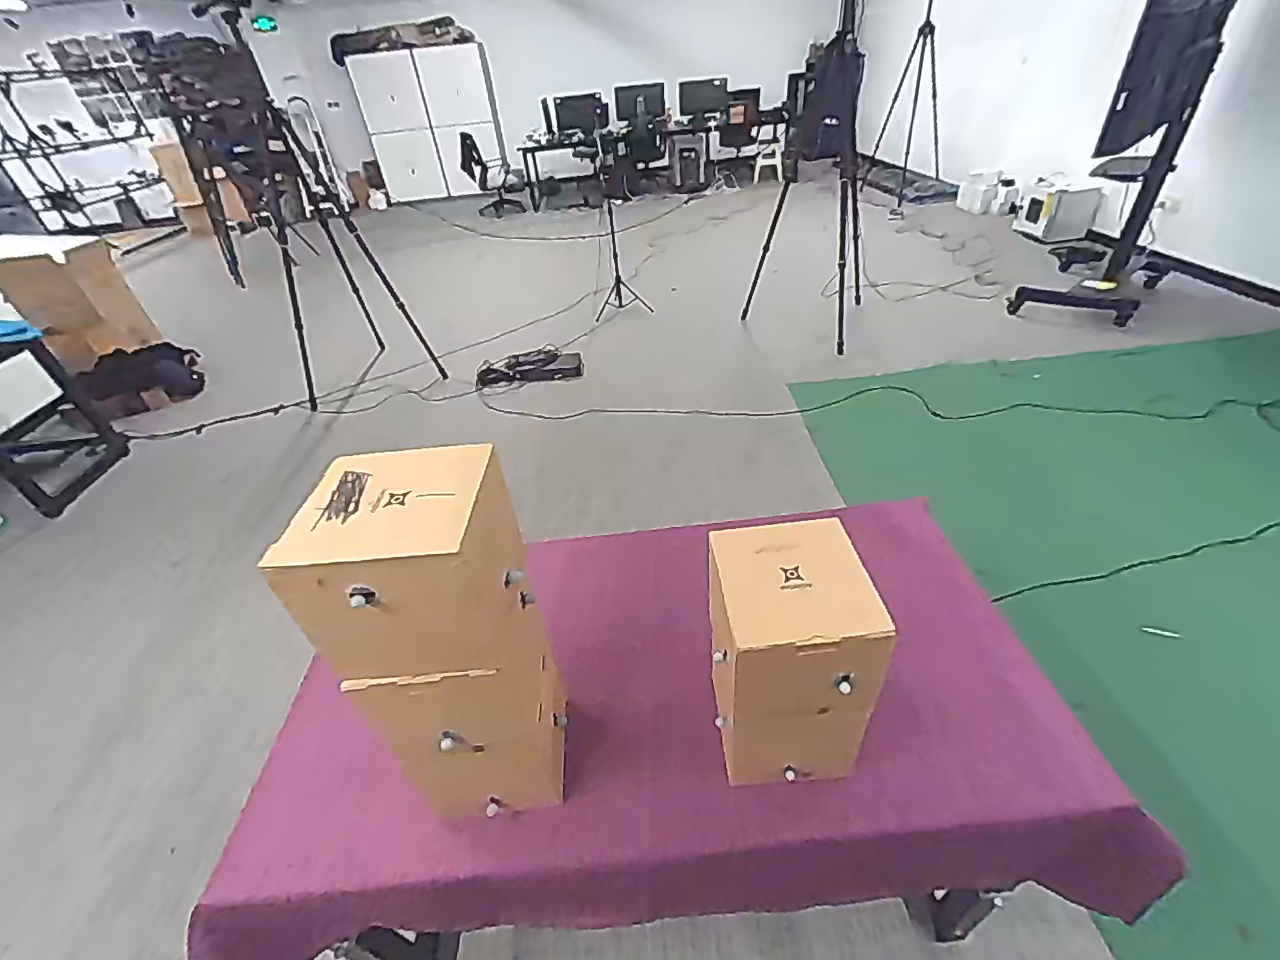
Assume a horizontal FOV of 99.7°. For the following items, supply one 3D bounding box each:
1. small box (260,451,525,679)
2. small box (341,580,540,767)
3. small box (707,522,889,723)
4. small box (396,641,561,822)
[{"bbox_3d":[-0.232,0.089,0.563,0.179,0.176,0.168,-5,38,1],"label":"small box"},{"bbox_3d":[-0.223,0.220,0.663,0.168,0.176,0.179,-7,38,1],"label":"small box"},{"bbox_3d":[0.177,0.178,0.662,0.168,0.176,0.179,-6,38,0],"label":"small box"},{"bbox_3d":[-0.208,0.353,0.760,0.179,0.176,0.168,-7,37,-2],"label":"small box"}]
